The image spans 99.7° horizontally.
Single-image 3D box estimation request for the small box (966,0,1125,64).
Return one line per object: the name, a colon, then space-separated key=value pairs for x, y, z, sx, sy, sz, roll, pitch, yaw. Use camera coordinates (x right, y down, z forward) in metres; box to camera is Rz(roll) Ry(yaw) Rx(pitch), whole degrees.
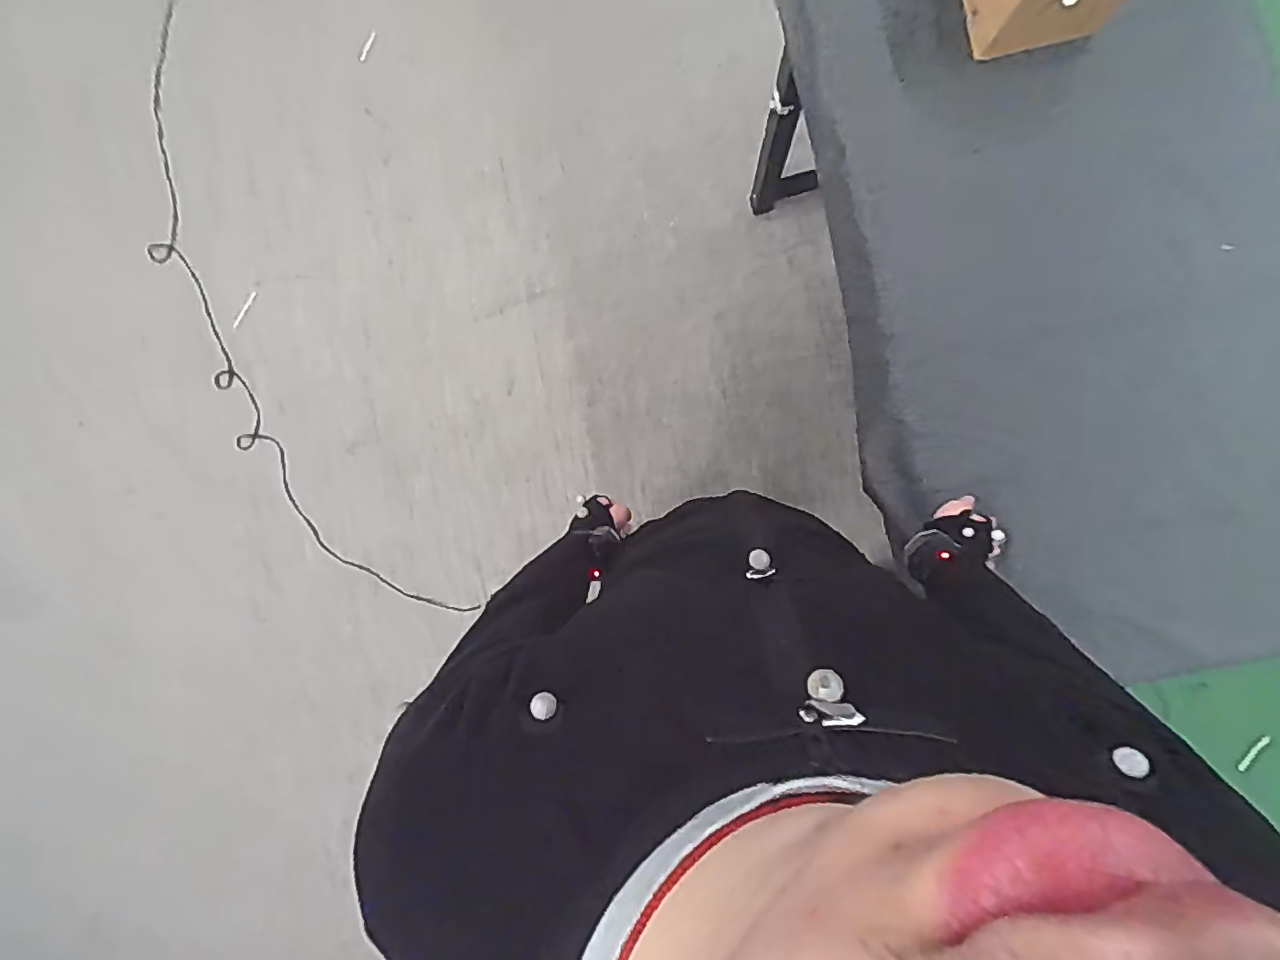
small box: x=0.567 y=-0.713 z=0.731 sx=0.179 sy=0.176 sz=0.168 roll=-11 pitch=89 yaw=5
